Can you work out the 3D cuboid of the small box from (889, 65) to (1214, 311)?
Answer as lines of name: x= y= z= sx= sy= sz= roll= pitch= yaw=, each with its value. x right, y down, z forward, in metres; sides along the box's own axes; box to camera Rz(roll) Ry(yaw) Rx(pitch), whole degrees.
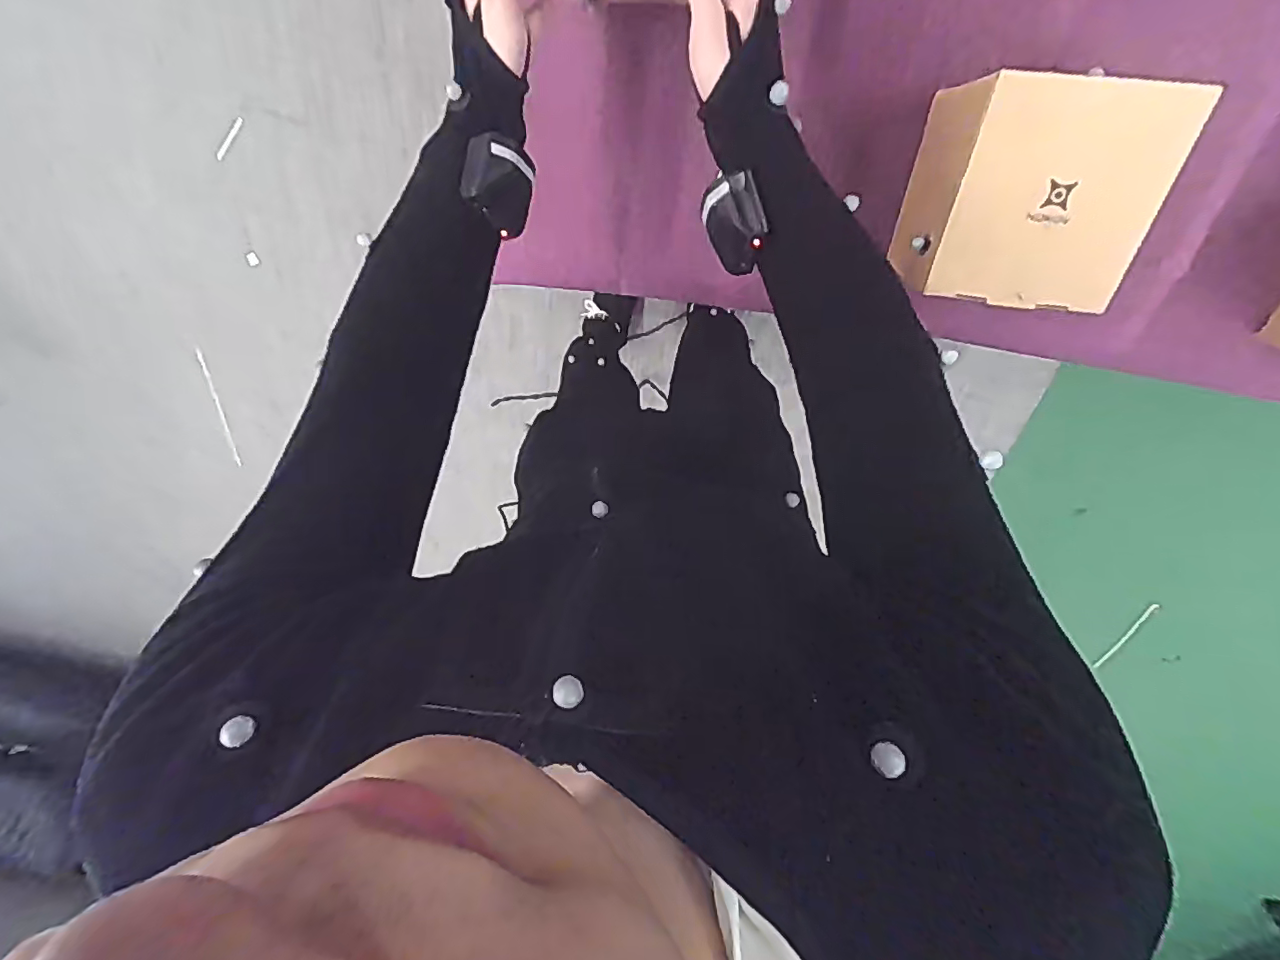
small box: x=0.368 y=-0.285 z=0.534 sx=0.168 sy=0.176 sz=0.179 roll=9 pitch=123 yaw=5
